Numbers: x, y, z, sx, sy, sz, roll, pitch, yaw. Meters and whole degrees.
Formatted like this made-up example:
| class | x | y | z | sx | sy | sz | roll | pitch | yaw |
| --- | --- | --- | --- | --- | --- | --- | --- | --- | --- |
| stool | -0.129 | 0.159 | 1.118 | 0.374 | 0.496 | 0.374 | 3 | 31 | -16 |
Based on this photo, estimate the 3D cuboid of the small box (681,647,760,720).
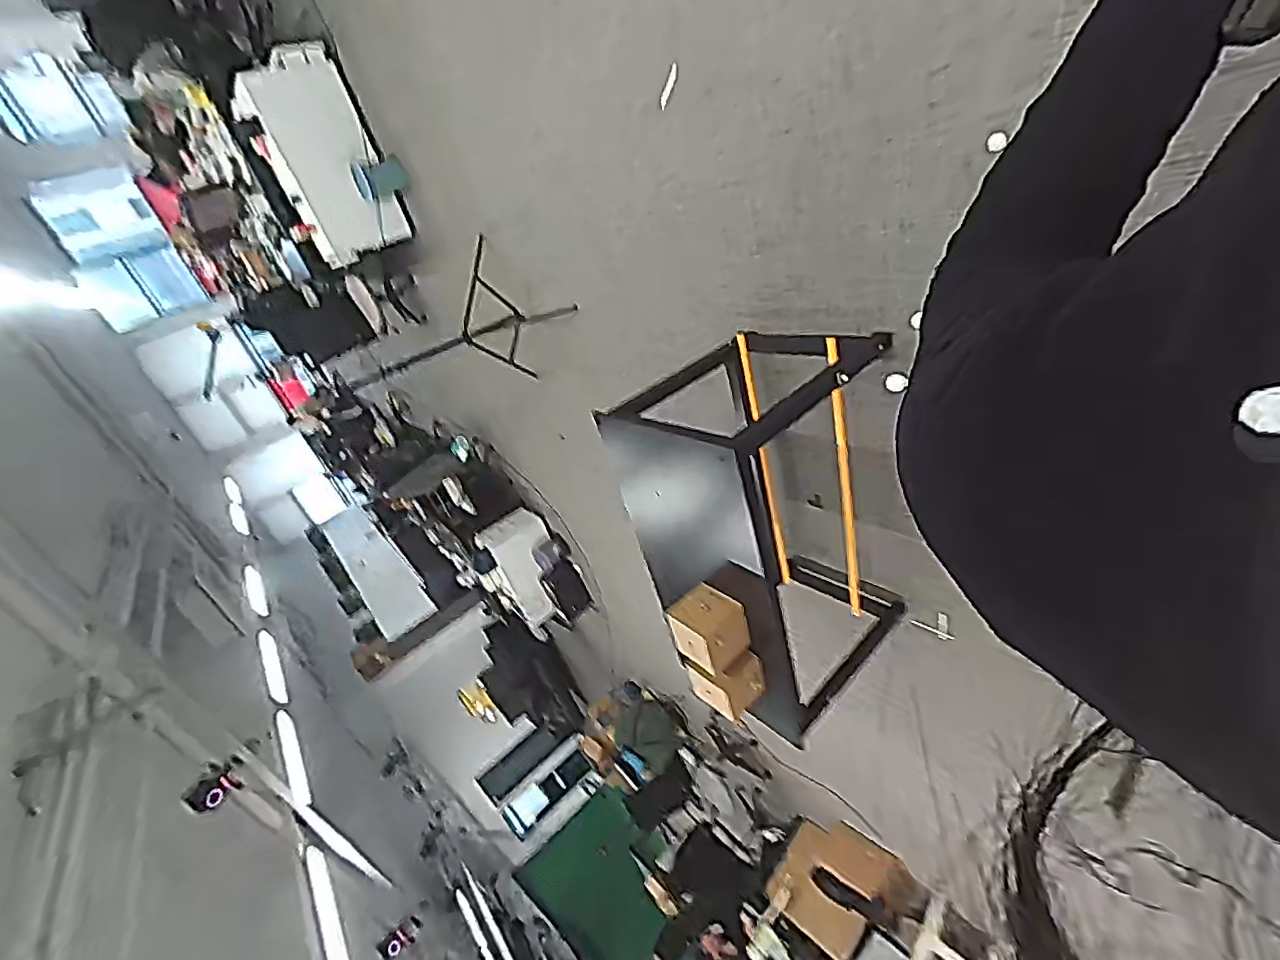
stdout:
| class | x | y | z | sx | sy | sz | roll | pitch | yaw |
| --- | --- | --- | --- | --- | --- | --- | --- | --- | --- |
| small box | 0.267 | 0.641 | 1.784 | 0.179 | 0.176 | 0.168 | 20 | 138 | 48 |

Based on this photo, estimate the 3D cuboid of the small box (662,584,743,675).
| class | x | y | z | sx | sy | sz | roll | pitch | yaw |
| --- | --- | --- | --- | --- | --- | --- | --- | --- | --- |
| small box | 0.198 | 0.457 | 1.685 | 0.168 | 0.176 | 0.179 | 23 | 139 | 48 |
